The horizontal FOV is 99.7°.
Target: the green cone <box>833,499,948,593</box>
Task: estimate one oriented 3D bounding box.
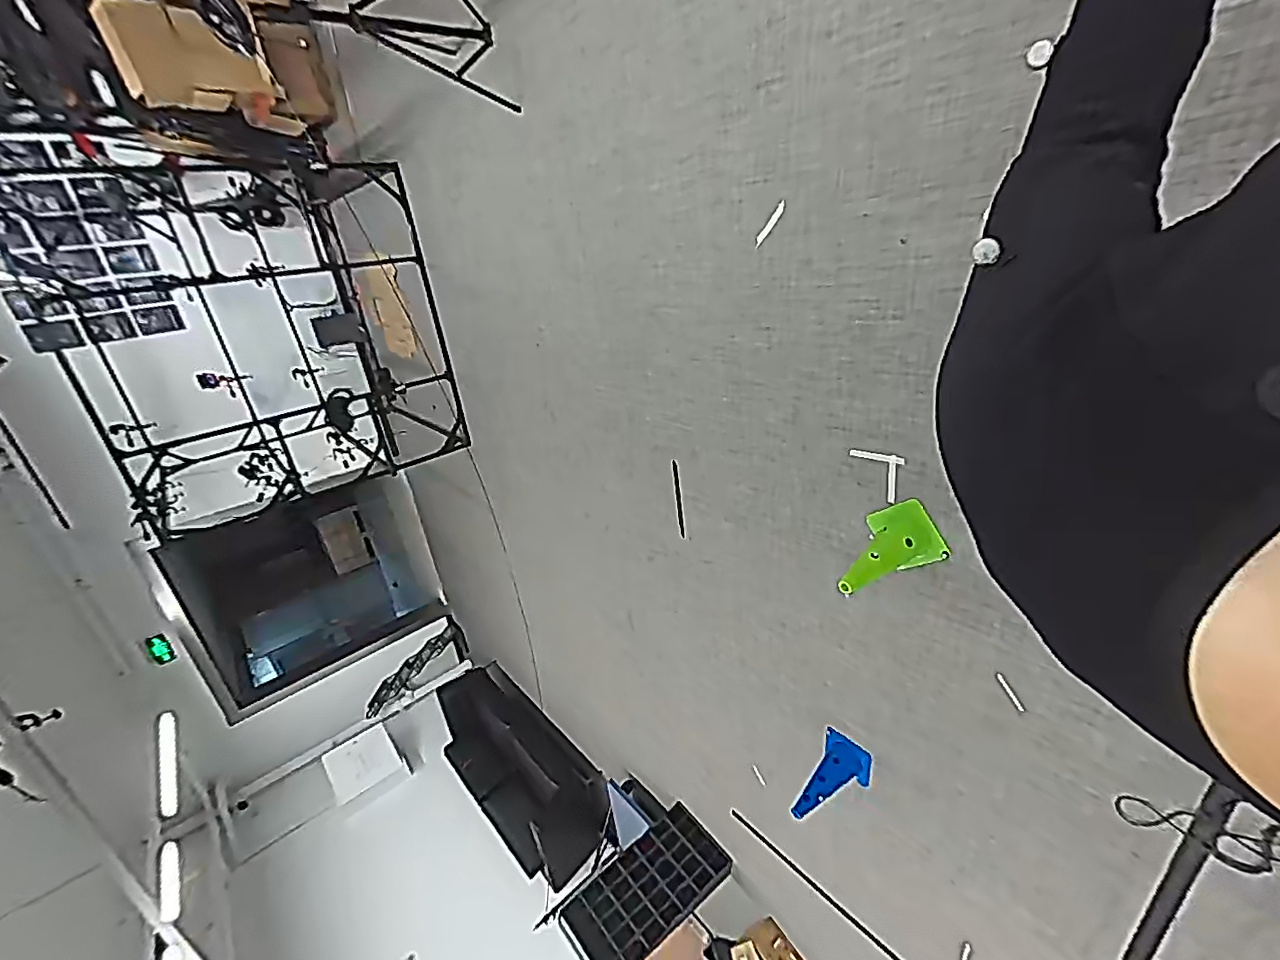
[{"bbox_3d":[0.689,0.227,1.580,0.200,0.368,0.202,62,148,7],"label":"green cone"}]

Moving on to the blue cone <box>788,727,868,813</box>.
[{"bbox_3d":[0.730,1.198,2.159,0.192,0.380,0.193,26,130,45],"label":"blue cone"}]
